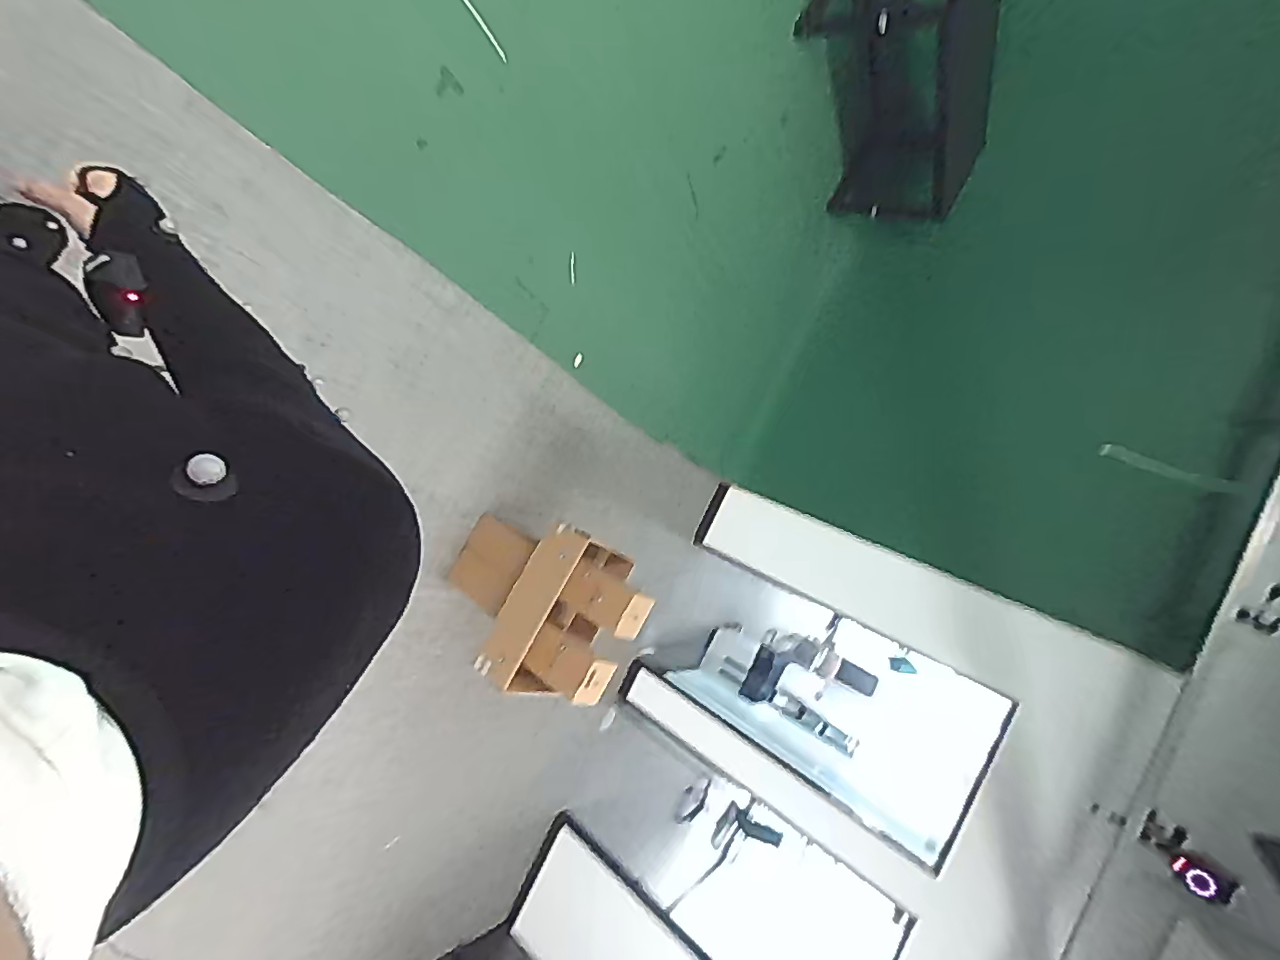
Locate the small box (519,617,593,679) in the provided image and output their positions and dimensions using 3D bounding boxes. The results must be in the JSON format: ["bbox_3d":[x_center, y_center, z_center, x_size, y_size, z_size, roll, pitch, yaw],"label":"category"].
[{"bbox_3d":[-0.317,0.635,2.039,0.168,0.176,0.179,-61,146,-7],"label":"small box"}]

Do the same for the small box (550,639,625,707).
[{"bbox_3d":[-0.192,0.694,1.949,0.168,0.176,0.179,-60,147,-8],"label":"small box"}]

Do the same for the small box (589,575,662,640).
[{"bbox_3d":[-0.054,0.470,1.993,0.168,0.176,0.179,-62,147,-6],"label":"small box"}]
